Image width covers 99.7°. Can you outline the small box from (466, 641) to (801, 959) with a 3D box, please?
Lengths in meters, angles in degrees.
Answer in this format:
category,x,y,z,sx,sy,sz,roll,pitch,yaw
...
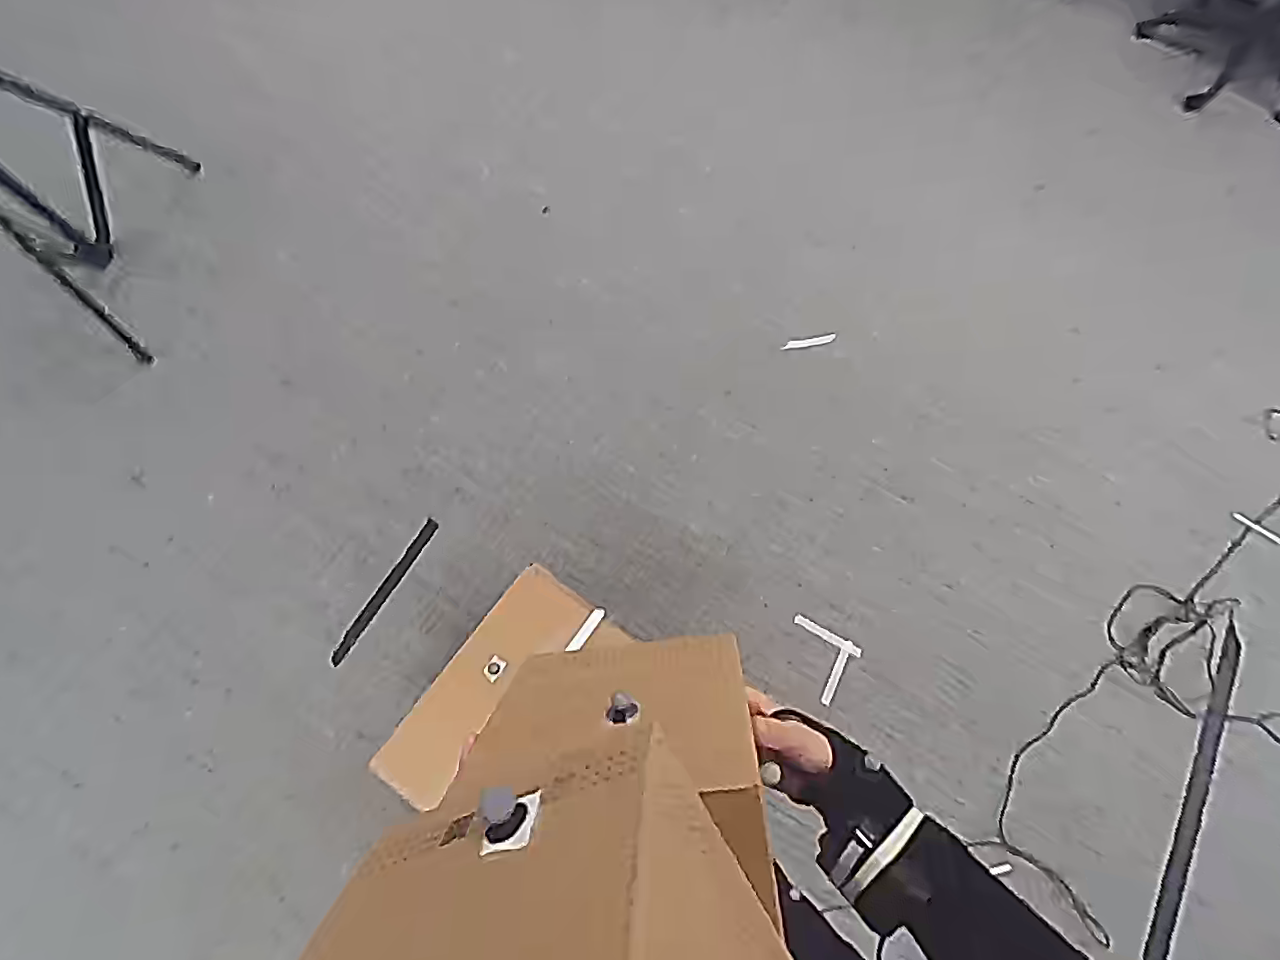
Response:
category,x,y,z,sx,sy,sz,roll,pitch,yaw
small box,0.004,0.228,0.372,0.179,0.176,0.168,-7,101,5

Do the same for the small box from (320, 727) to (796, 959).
category,x,y,z,sx,sy,sz,roll,pitch,yaw
small box,-0.024,0.240,0.210,0.168,0.176,0.179,-26,97,8
